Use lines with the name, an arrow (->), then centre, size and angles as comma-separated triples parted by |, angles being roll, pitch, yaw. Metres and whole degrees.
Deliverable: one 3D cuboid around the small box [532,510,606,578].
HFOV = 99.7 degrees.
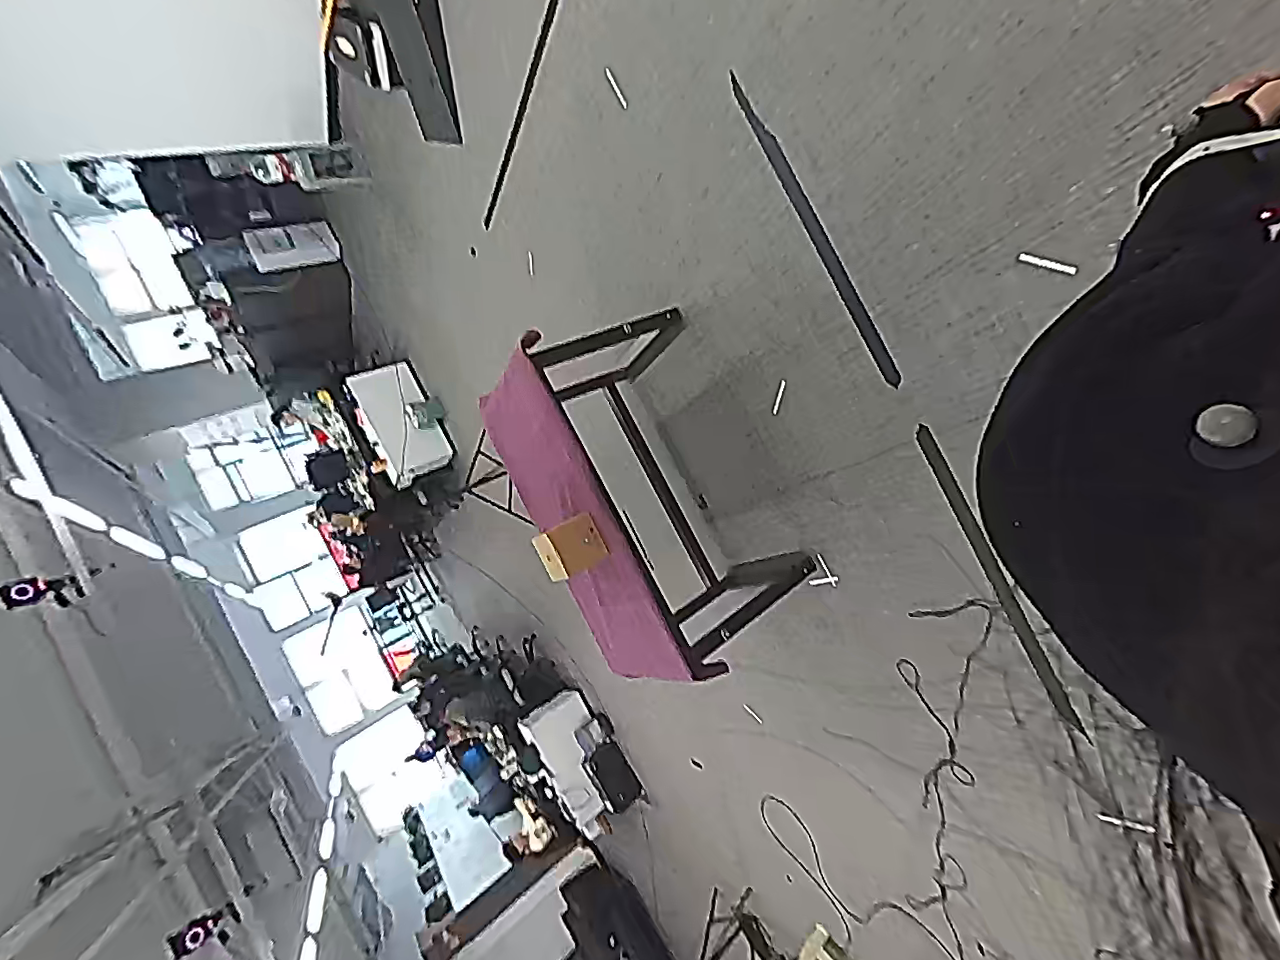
small box -> -0.240, 0.220, 1.847 | 0.179, 0.176, 0.168 | -25, 93, 60
